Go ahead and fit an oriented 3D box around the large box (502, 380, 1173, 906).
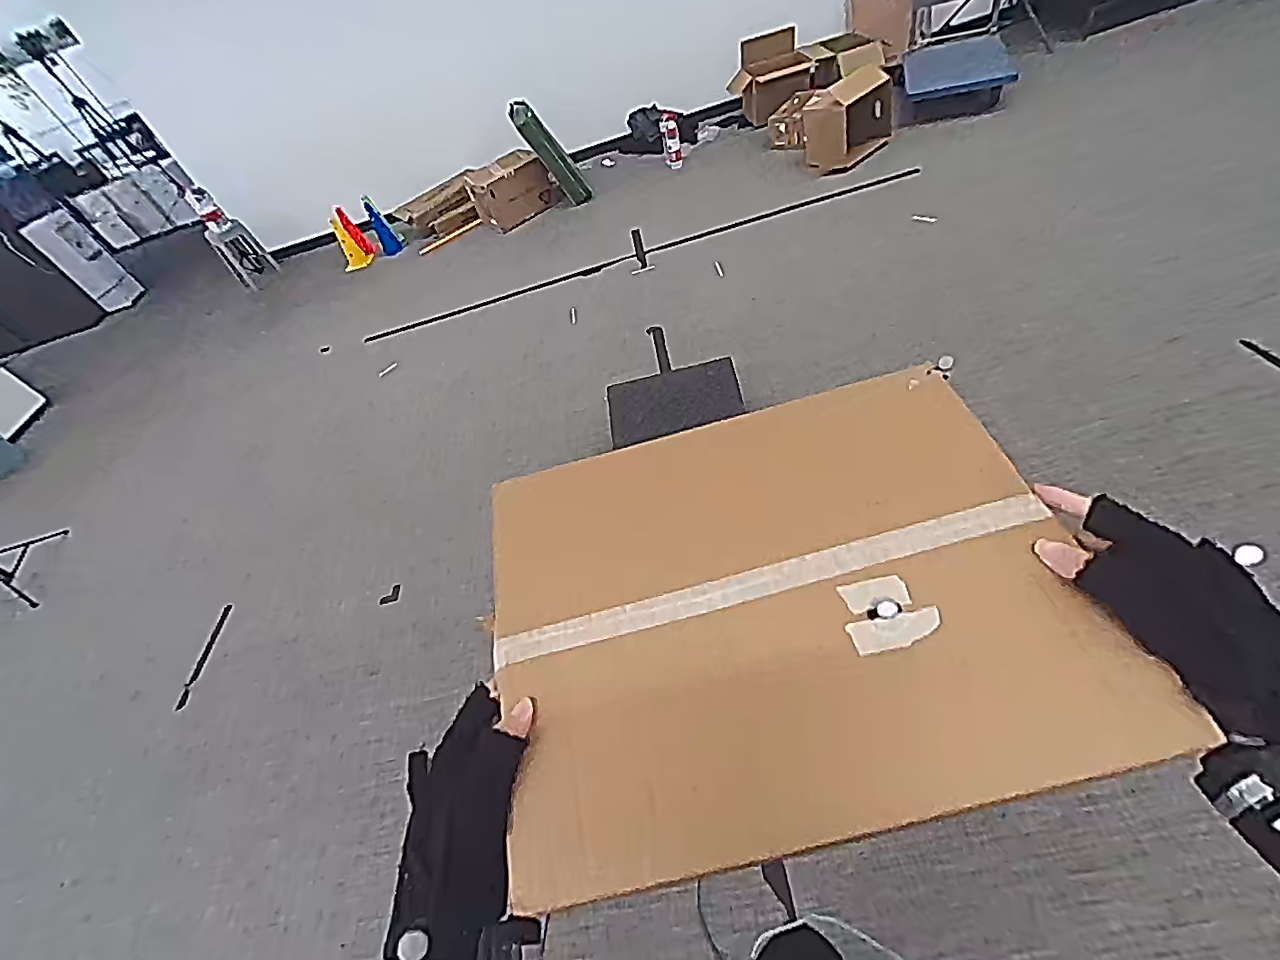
[{"bbox_3d":[0.119,0.166,0.526,0.408,0.320,0.320,-16,54,2],"label":"large box"}]
